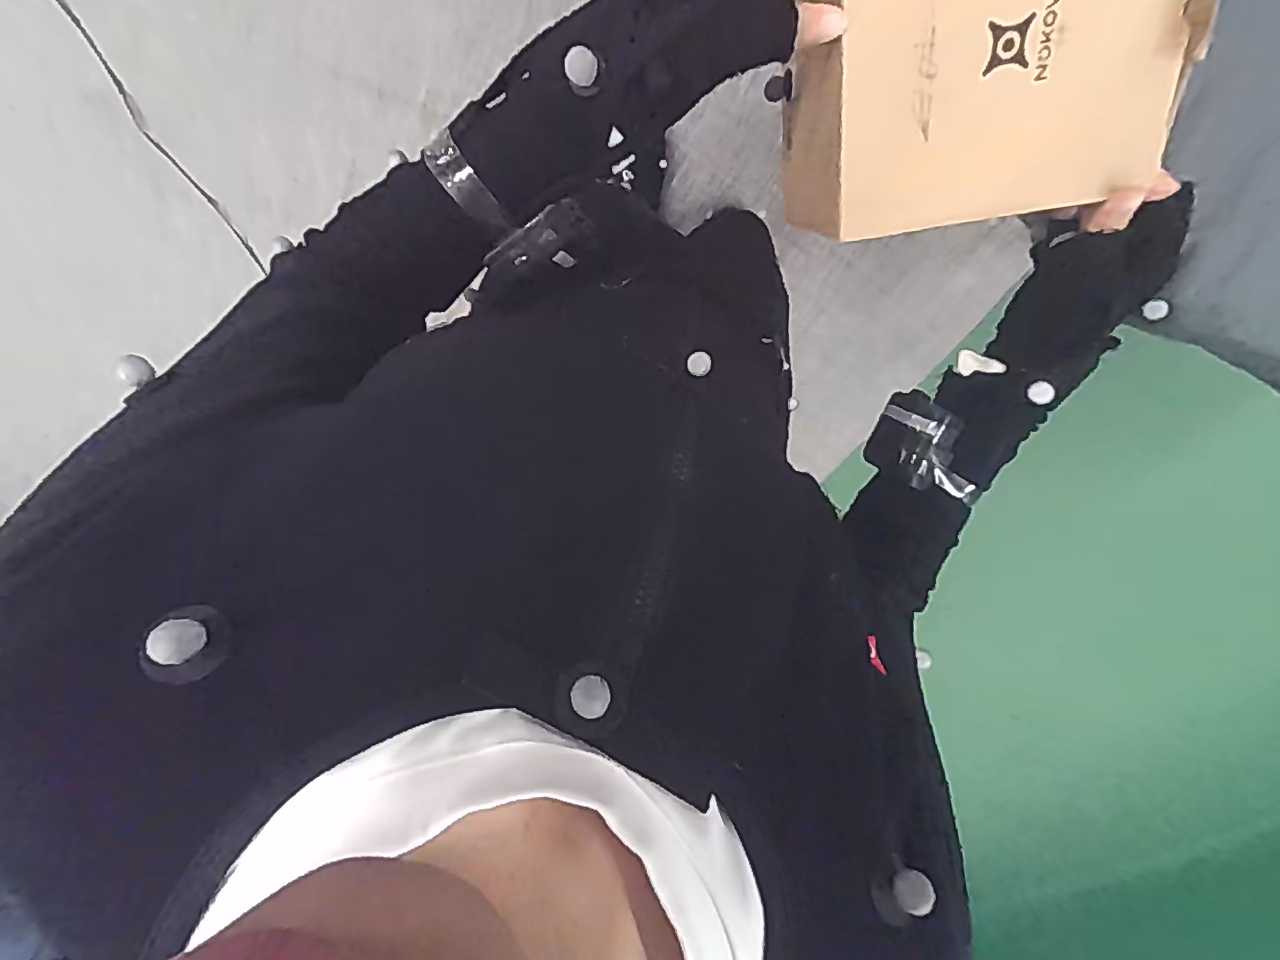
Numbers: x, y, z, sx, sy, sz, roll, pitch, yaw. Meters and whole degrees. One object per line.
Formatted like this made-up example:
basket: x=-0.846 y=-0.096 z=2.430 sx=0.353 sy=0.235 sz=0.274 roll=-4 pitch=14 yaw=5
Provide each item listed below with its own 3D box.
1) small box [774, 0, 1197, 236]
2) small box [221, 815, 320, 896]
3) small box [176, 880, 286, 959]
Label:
small box: x=0.191 y=-0.263 z=0.343 sx=0.179 sy=0.176 sz=0.168 roll=-7 pitch=118 yaw=7
small box: x=-1.079 y=1.108 z=1.577 sx=0.179 sy=0.176 sz=0.168 roll=26 pitch=125 yaw=-13
small box: x=-1.087 y=1.201 z=1.443 sx=0.179 sy=0.176 sz=0.168 roll=29 pitch=123 yaw=-15
